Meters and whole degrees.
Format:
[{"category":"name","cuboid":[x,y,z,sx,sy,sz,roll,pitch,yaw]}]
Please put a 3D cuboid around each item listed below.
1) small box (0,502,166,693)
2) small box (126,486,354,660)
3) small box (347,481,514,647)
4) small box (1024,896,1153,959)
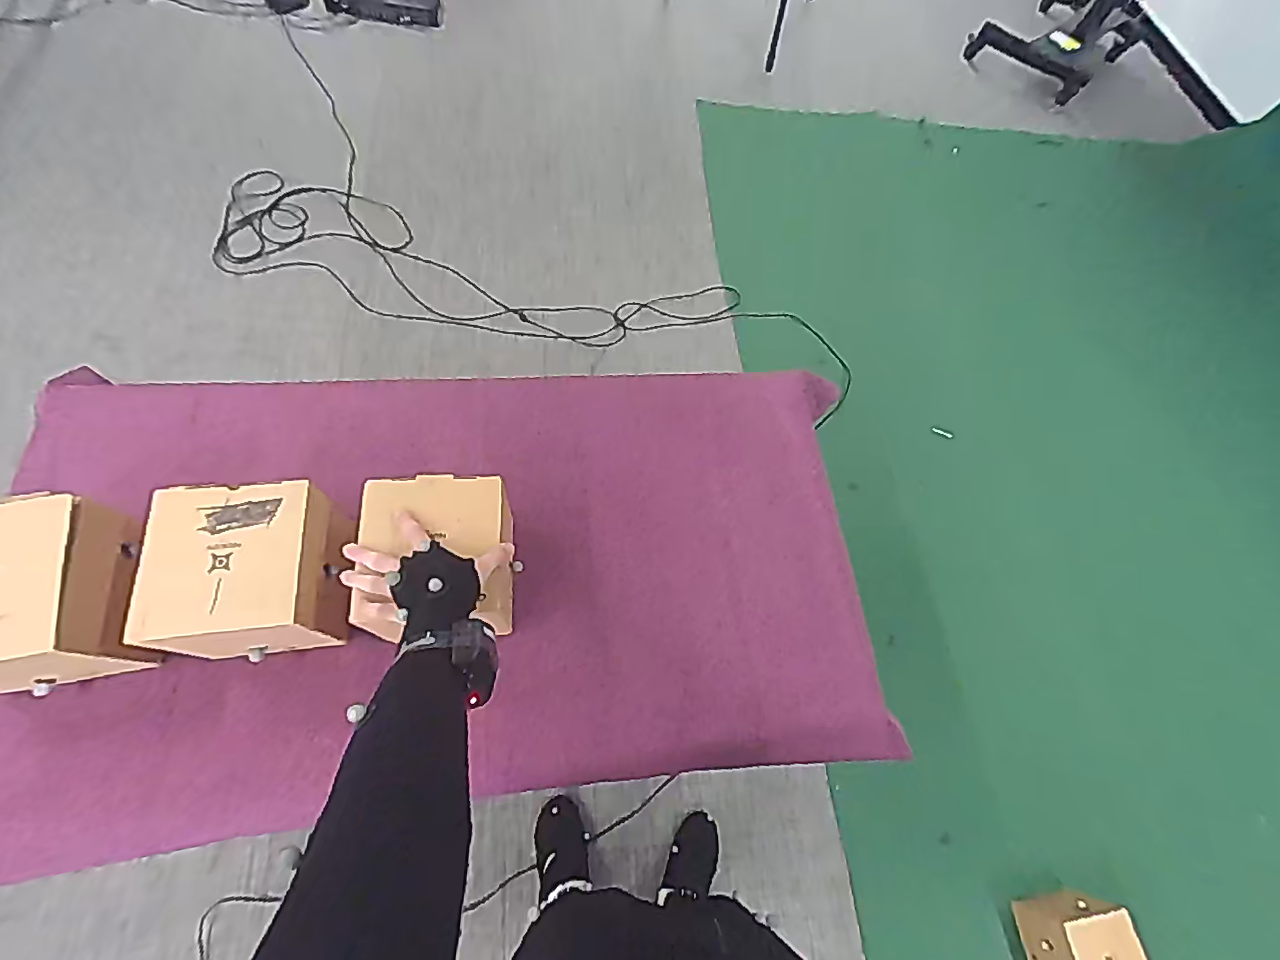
[{"category":"small box","cuboid":[-0.703,0.146,0.646,0.168,0.176,0.179,-9,68,-10]},{"category":"small box","cuboid":[-0.480,0.122,0.685,0.168,0.176,0.179,-4,68,-9]},{"category":"small box","cuboid":[-0.261,0.115,0.717,0.168,0.176,0.179,-2,66,-8]},{"category":"small box","cuboid":[1.034,1.092,1.247,0.179,0.176,0.168,-3,66,-10]}]
